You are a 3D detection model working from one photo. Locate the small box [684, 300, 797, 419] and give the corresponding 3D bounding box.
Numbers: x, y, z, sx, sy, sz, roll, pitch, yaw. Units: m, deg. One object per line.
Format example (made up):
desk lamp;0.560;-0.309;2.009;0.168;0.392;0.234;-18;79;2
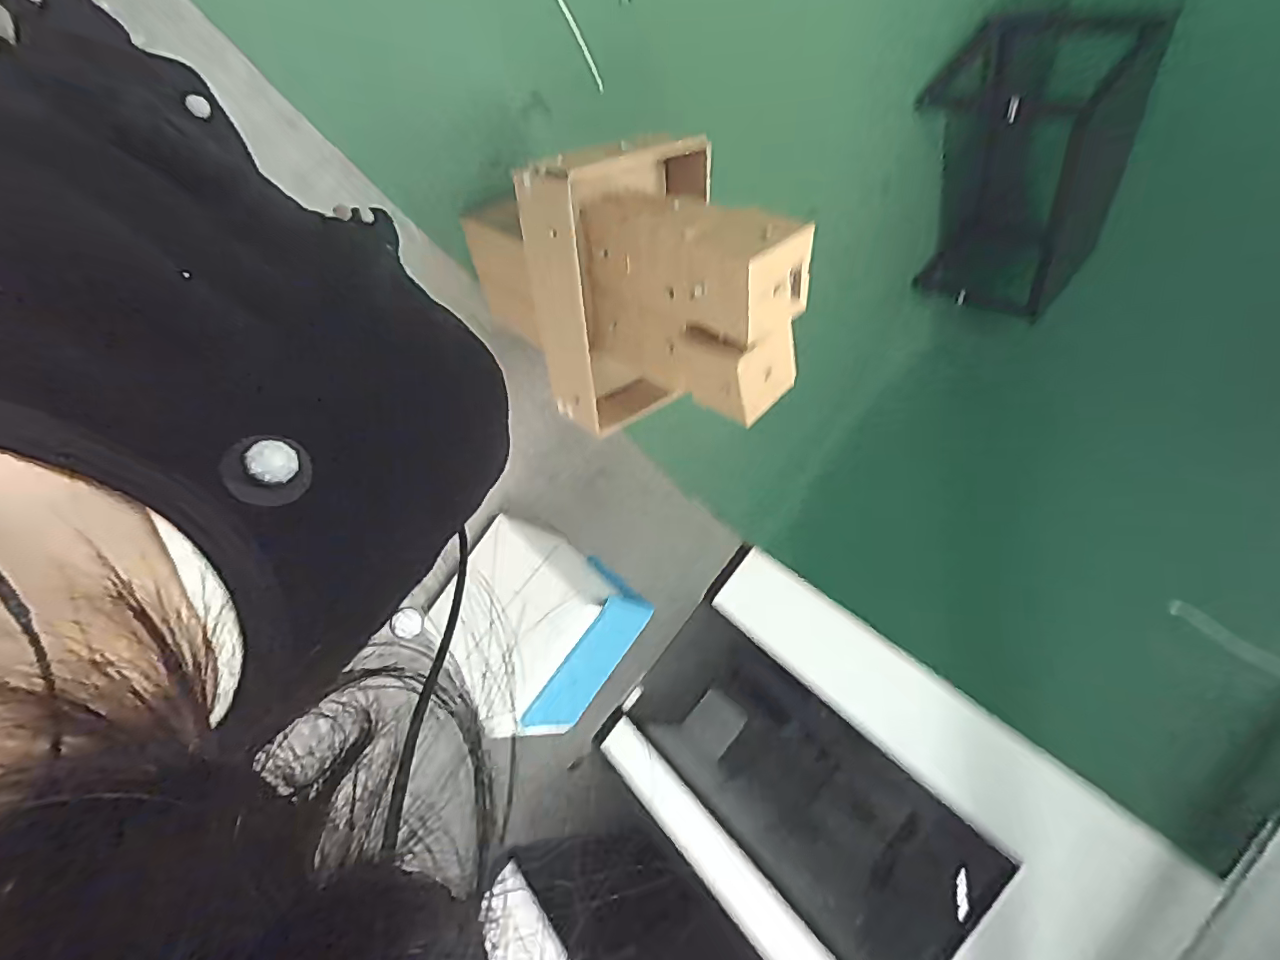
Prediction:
small box;0.214;-0.267;1.161;0.168;0.176;0.179;-41;140;-17
